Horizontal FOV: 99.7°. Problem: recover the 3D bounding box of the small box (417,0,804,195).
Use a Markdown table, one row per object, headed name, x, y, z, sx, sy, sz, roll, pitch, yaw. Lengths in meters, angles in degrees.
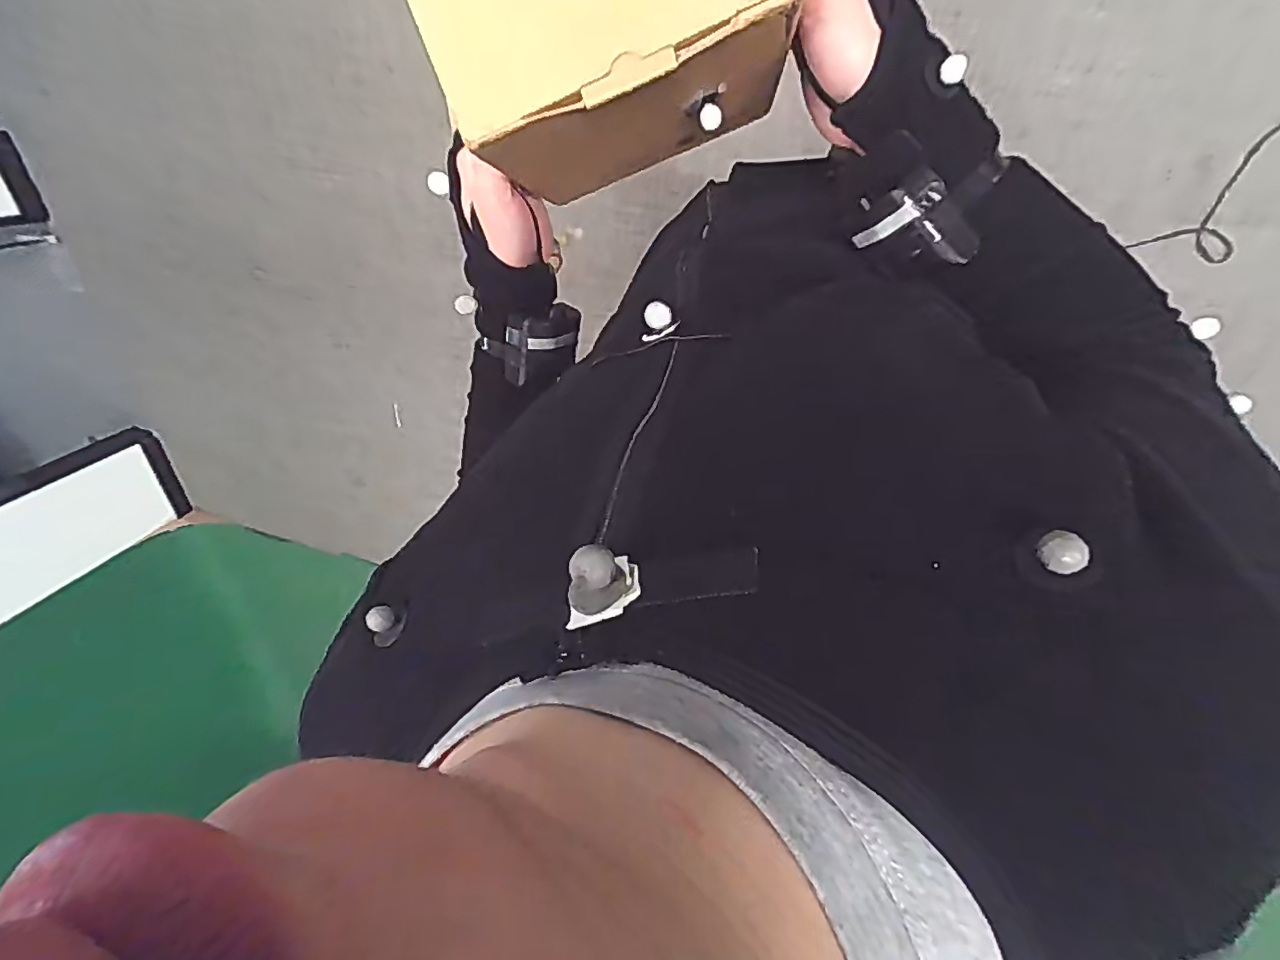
| name | x | y | z | sx | sy | sz | roll | pitch | yaw |
| --- | --- | --- | --- | --- | --- | --- | --- | --- | --- |
| small box | -0.022 | -0.281 | 0.299 | 0.168 | 0.176 | 0.179 | -18 | 104 | 12 |
